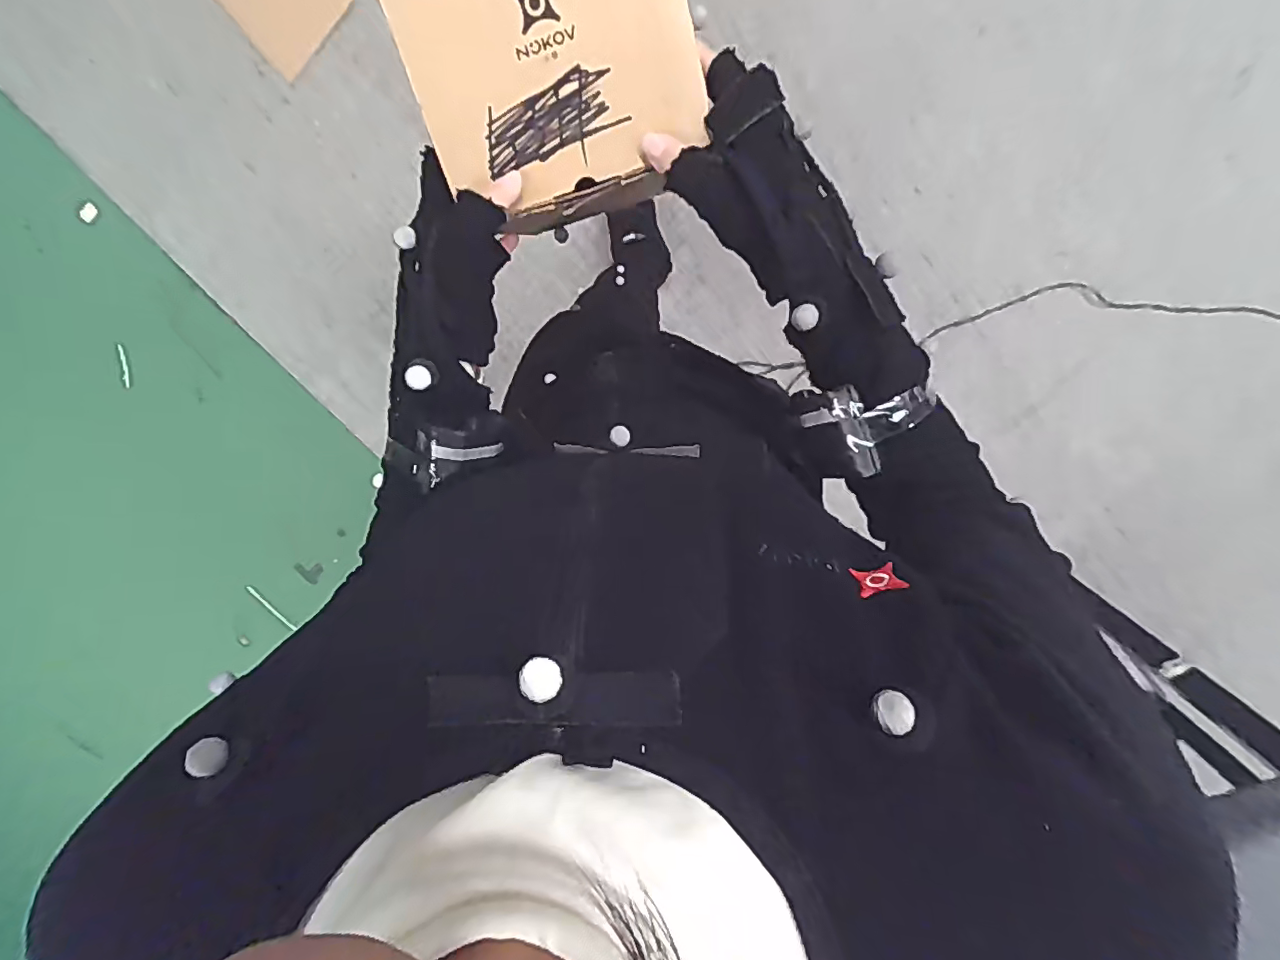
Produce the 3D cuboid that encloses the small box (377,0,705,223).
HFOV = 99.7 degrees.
[{"bbox_3d":[-0.055,-0.299,0.377,0.168,0.176,0.179,-16,112,12],"label":"small box"}]
